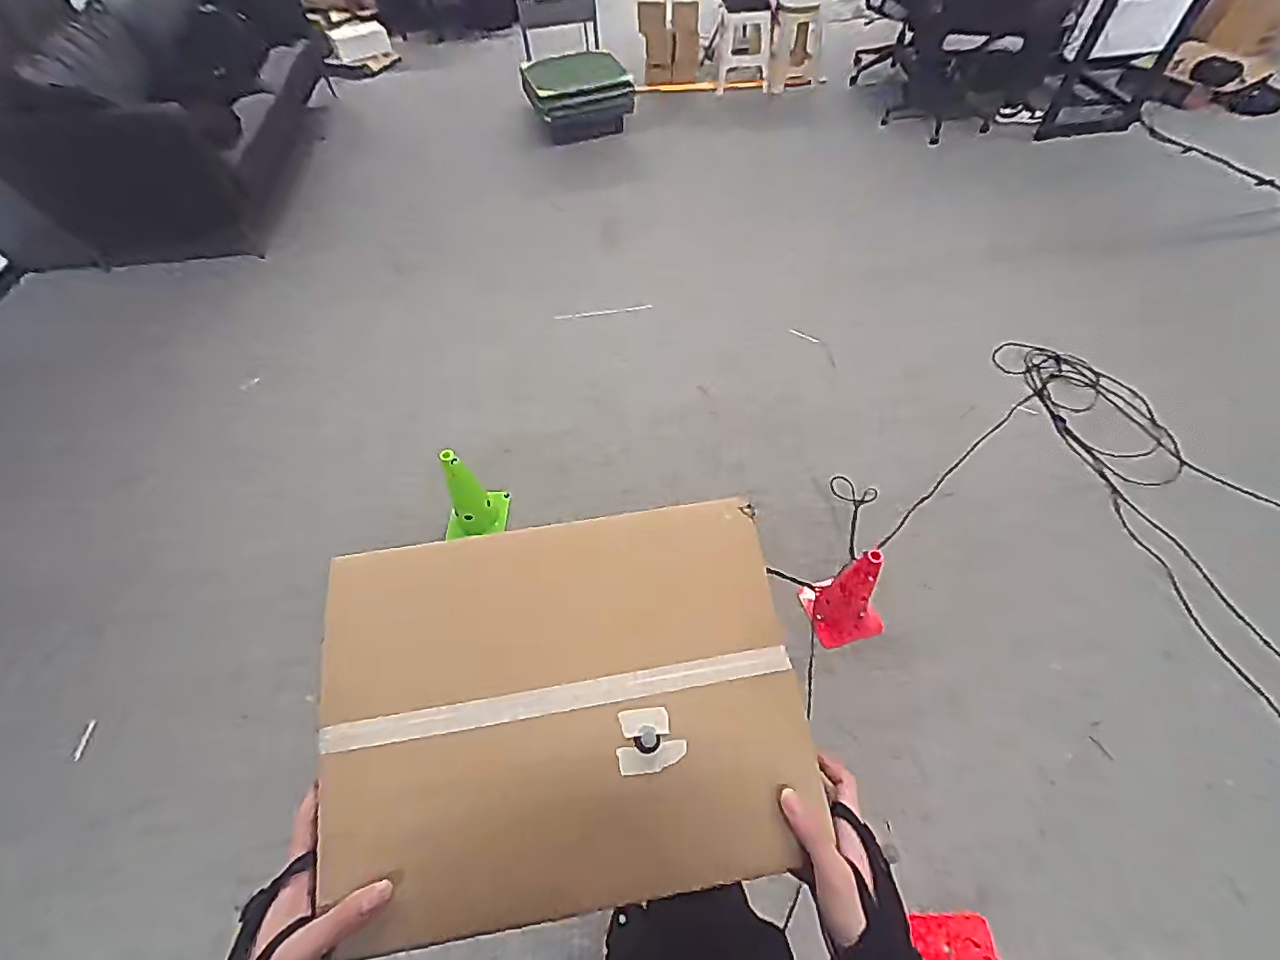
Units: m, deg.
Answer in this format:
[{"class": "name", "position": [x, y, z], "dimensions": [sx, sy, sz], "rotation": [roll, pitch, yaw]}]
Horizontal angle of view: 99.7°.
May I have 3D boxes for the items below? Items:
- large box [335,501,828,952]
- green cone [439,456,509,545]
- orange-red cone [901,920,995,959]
[{"class": "large box", "position": [-0.069, 0.248, 0.620], "dimensions": [0.408, 0.320, 0.320], "rotation": [-8, 68, -5]}, {"class": "green cone", "position": [-0.573, 0.039, 1.749], "dimensions": [0.200, 0.368, 0.202], "rotation": [-2, 56, 2]}, {"class": "orange-red cone", "position": [0.674, 0.979, 1.022], "dimensions": [0.199, 0.360, 0.198], "rotation": [0, 55, 1]}]
